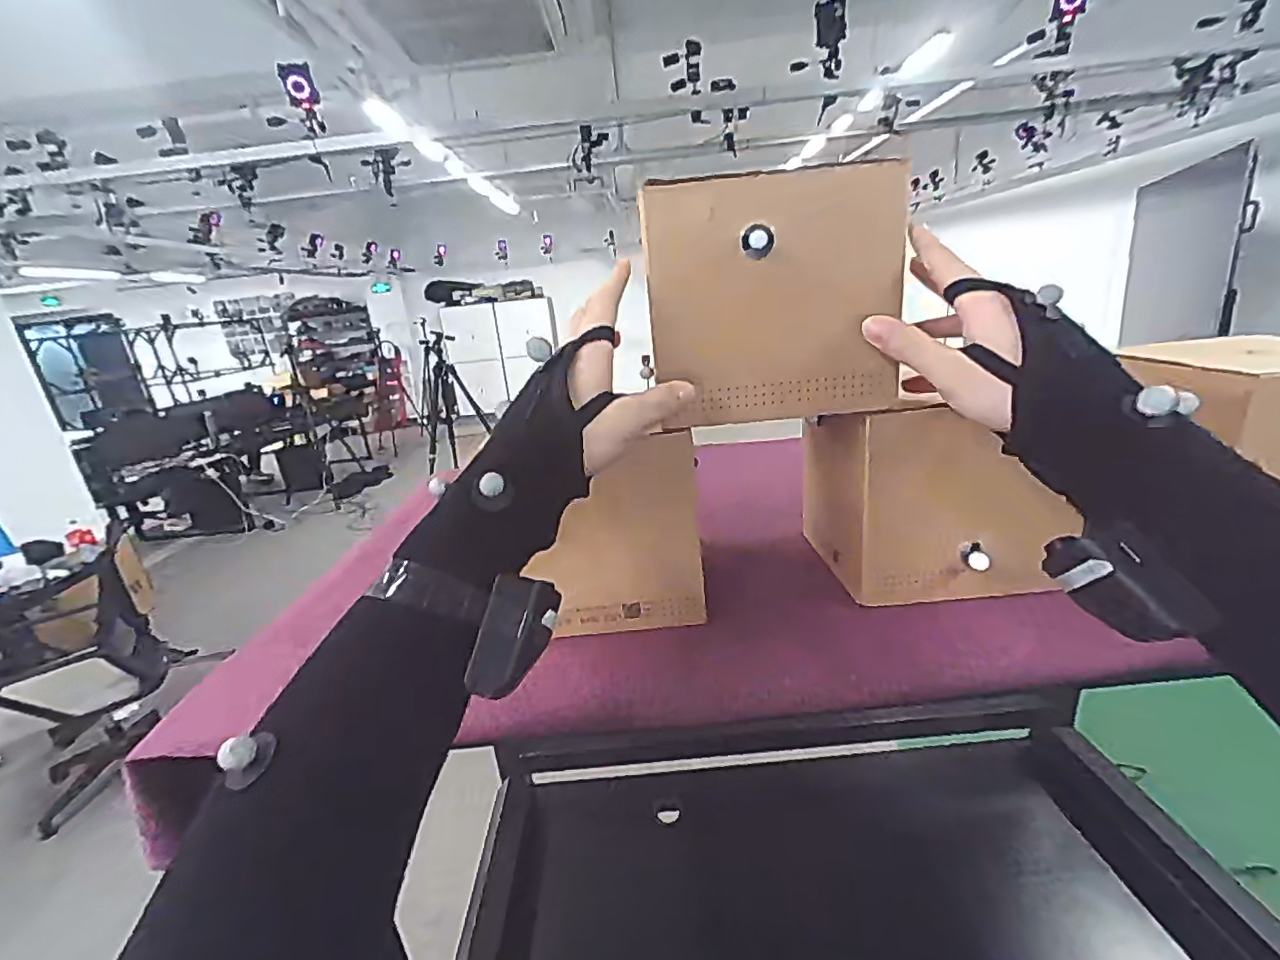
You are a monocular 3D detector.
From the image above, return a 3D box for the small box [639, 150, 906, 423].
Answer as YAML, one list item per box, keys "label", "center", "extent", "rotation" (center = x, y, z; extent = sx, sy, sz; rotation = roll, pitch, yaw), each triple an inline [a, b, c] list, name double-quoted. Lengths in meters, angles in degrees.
- label: "small box"
  center: [0.096, -0.145, 0.446]
  extent: [0.179, 0.176, 0.168]
  rotation: [-4, 17, 3]

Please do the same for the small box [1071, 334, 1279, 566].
- label: "small box"
  center: [0.537, -0.031, 0.485]
  extent: [0.168, 0.176, 0.179]
  rotation: [-4, 18, 5]
